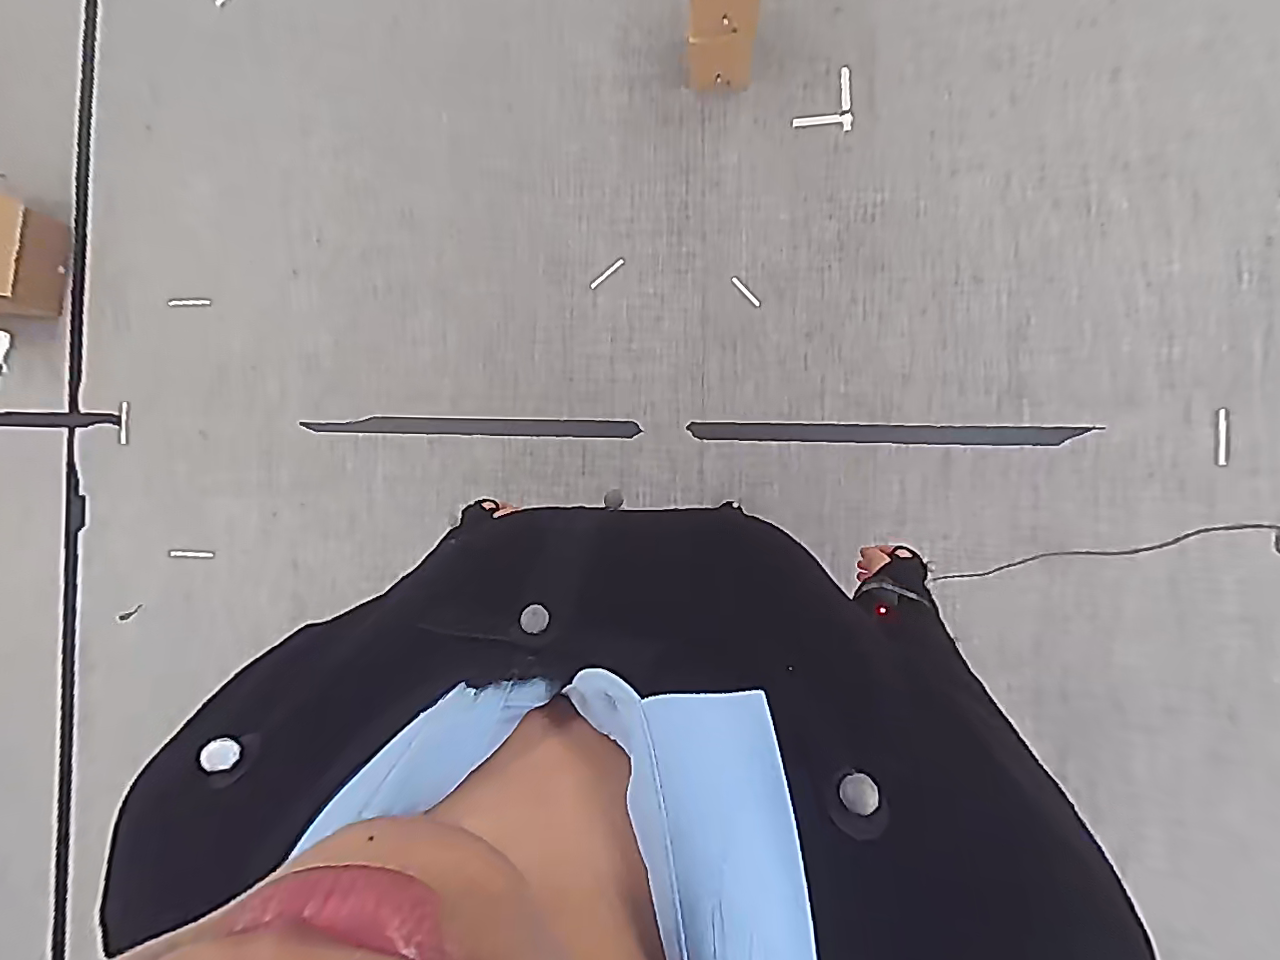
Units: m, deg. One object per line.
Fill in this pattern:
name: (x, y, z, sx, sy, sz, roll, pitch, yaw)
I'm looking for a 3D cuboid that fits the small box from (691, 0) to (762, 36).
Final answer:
small box: (0.209, -1.201, 1.274, 0.168, 0.176, 0.179, 5, 90, 9)
